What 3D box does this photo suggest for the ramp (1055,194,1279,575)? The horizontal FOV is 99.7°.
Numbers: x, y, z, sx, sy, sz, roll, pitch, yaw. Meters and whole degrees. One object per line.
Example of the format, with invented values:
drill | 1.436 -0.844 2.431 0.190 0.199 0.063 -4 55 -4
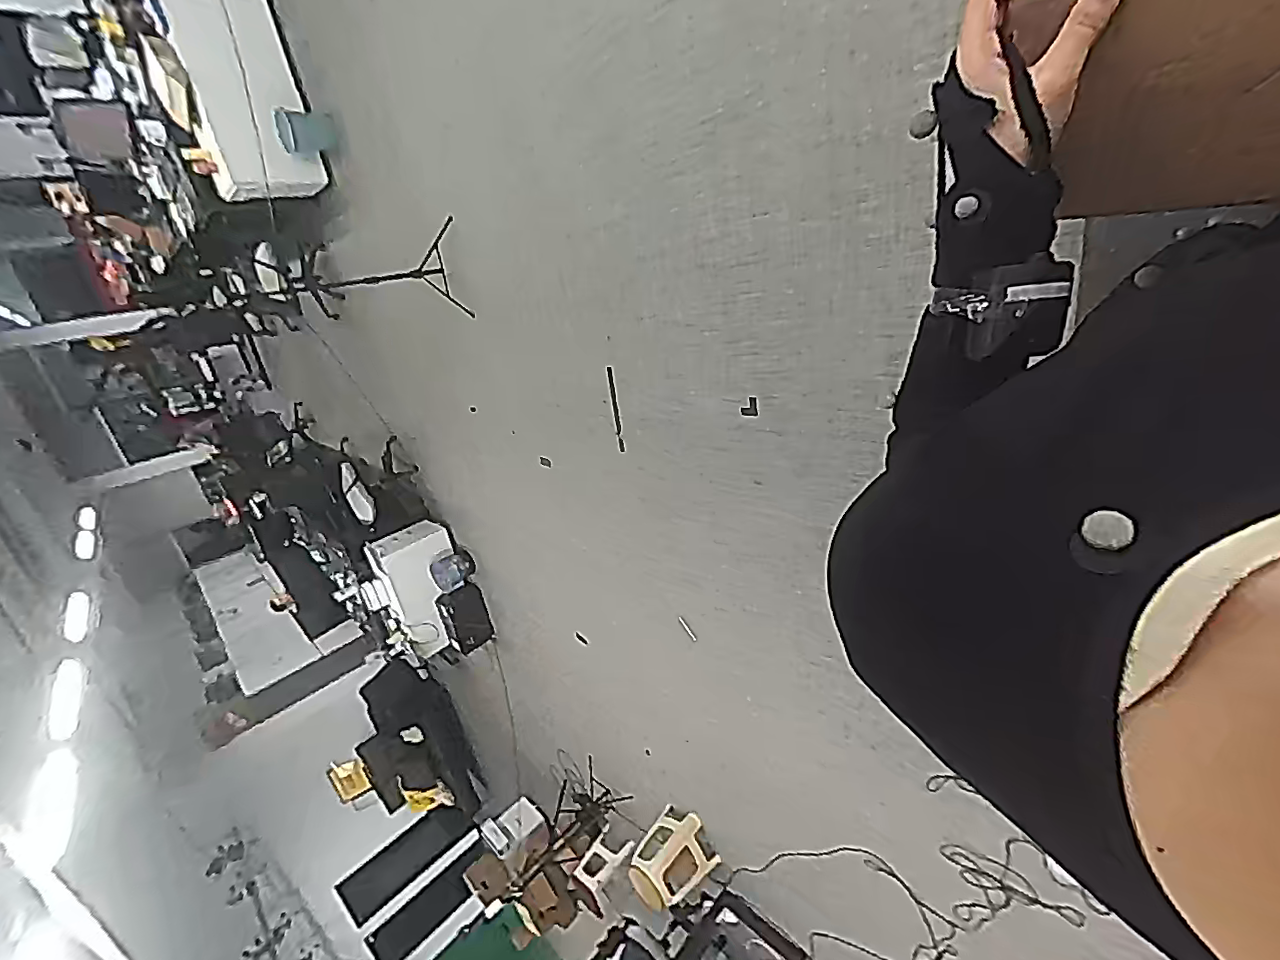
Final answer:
ramp | 1.092 -0.234 0.986 0.509 0.206 0.991 9 120 44
